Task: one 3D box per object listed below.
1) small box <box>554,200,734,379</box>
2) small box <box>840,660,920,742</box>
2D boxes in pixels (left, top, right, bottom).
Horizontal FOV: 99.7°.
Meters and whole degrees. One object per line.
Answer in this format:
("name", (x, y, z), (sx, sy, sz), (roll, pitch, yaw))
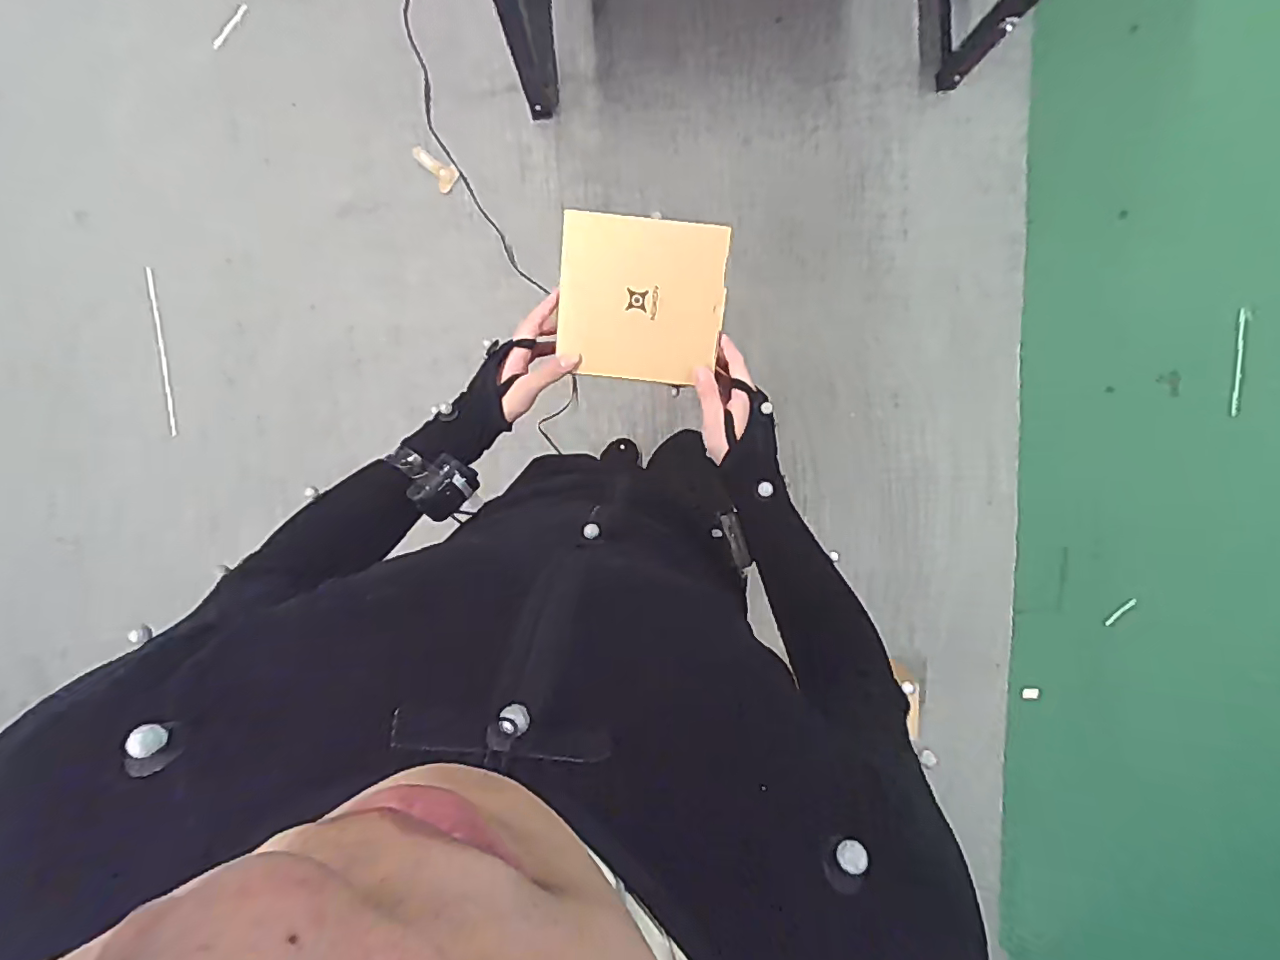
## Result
("small box", (0.002, -0.210, 0.639), (0.179, 0.176, 0.168), (5, 101, -2))
("small box", (0.713, 0.655, 1.621), (0.168, 0.176, 0.179), (-1, 98, 0))
